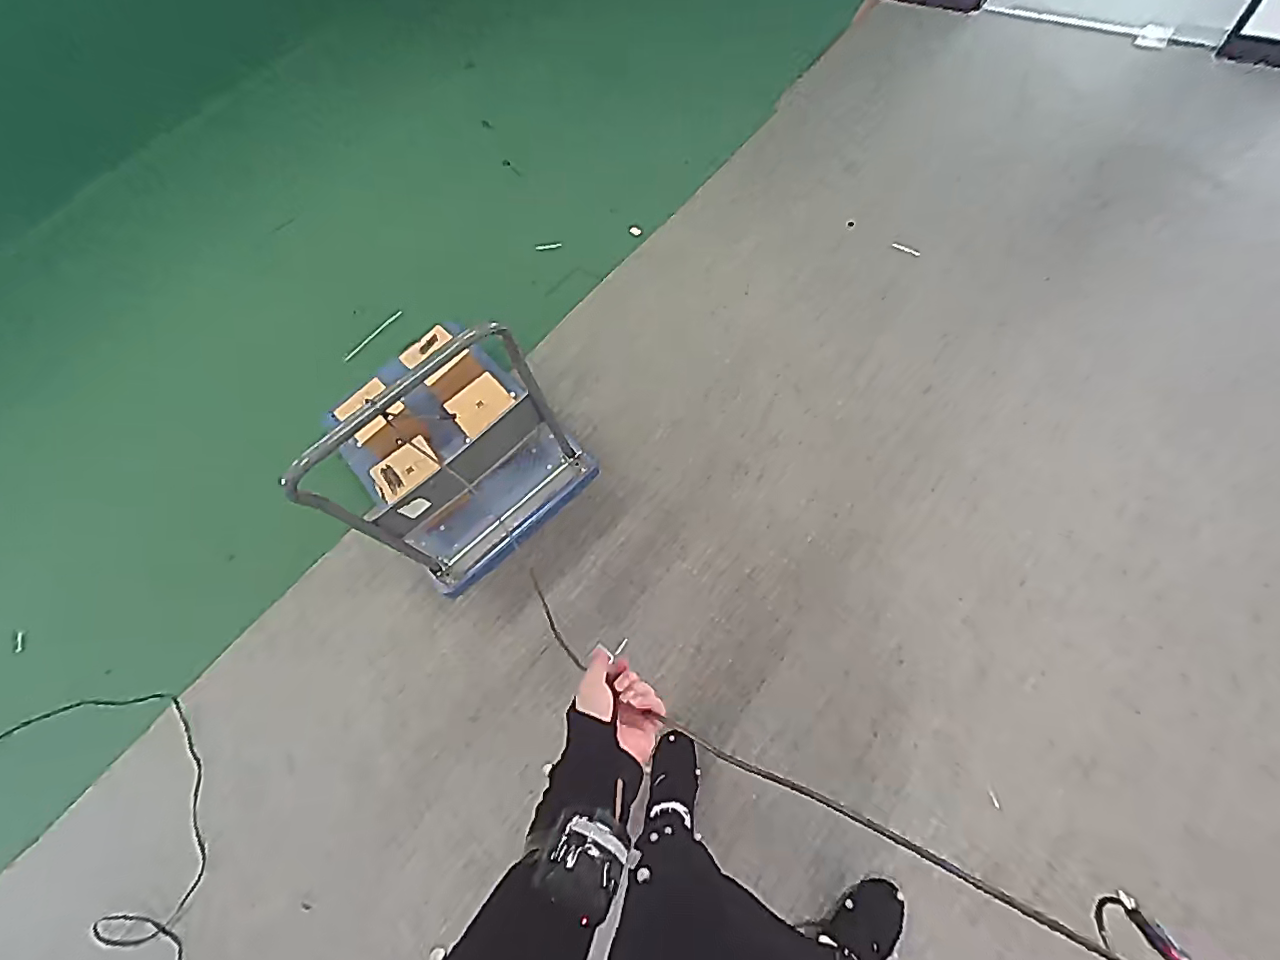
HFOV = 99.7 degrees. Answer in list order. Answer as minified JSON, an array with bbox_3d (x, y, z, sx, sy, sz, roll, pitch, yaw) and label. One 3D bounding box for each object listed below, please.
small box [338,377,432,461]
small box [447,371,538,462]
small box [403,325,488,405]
[{"bbox_3d":[-0.787,-0.181,1.688,0.168,0.176,0.179,-44,66,-12],"label":"small box"},{"bbox_3d":[-0.436,-0.184,1.623,0.168,0.176,0.179,-41,65,-9],"label":"small box"},{"bbox_3d":[-0.613,-0.356,1.736,0.179,0.176,0.168,41,79,23],"label":"small box"}]
